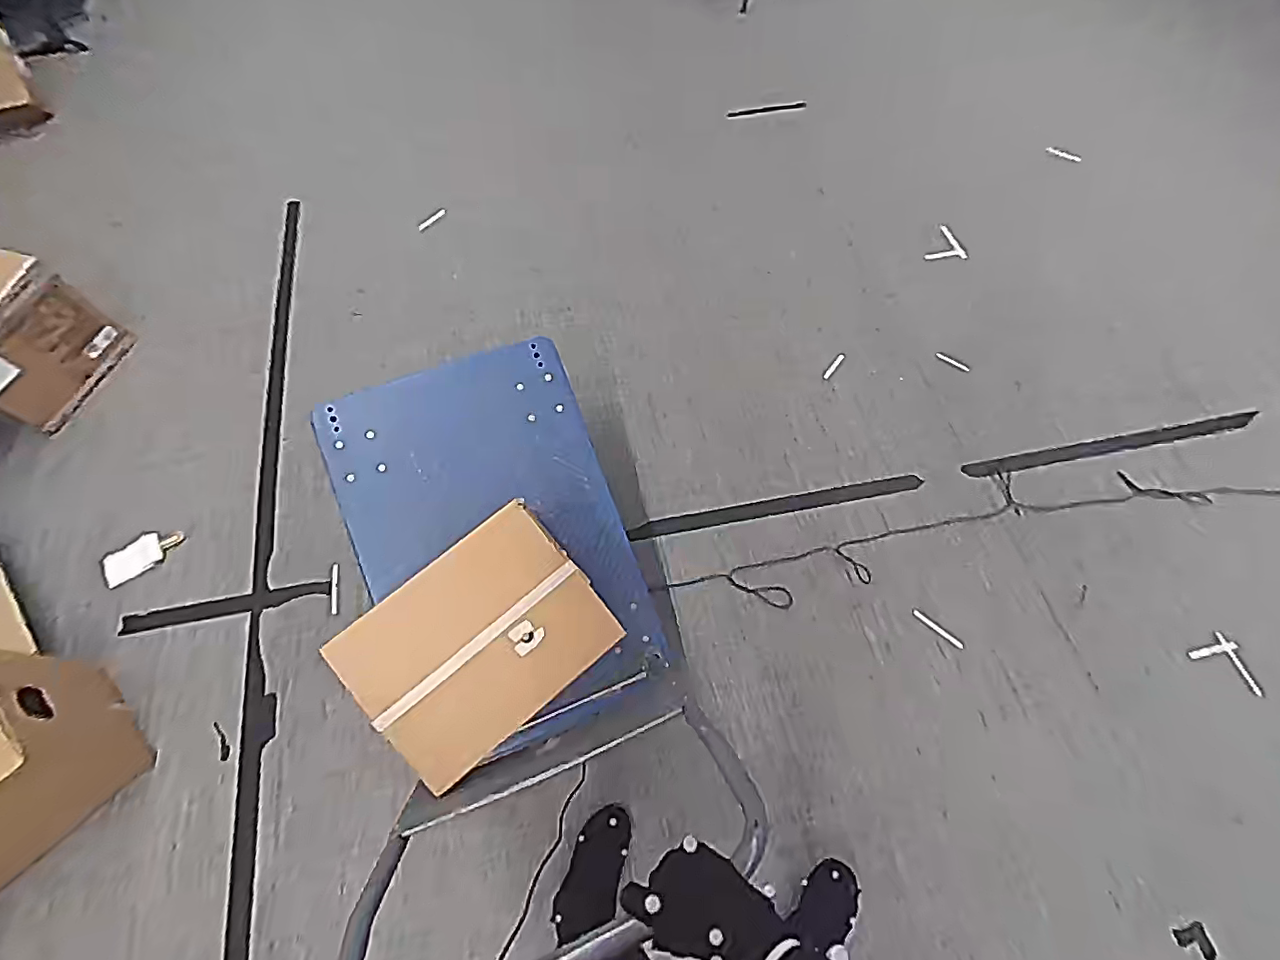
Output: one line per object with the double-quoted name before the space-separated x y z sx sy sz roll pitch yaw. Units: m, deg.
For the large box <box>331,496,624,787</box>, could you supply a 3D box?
"large box" -0.292 0.290 1.074 0.408 0.320 0.320 -39 90 -12
